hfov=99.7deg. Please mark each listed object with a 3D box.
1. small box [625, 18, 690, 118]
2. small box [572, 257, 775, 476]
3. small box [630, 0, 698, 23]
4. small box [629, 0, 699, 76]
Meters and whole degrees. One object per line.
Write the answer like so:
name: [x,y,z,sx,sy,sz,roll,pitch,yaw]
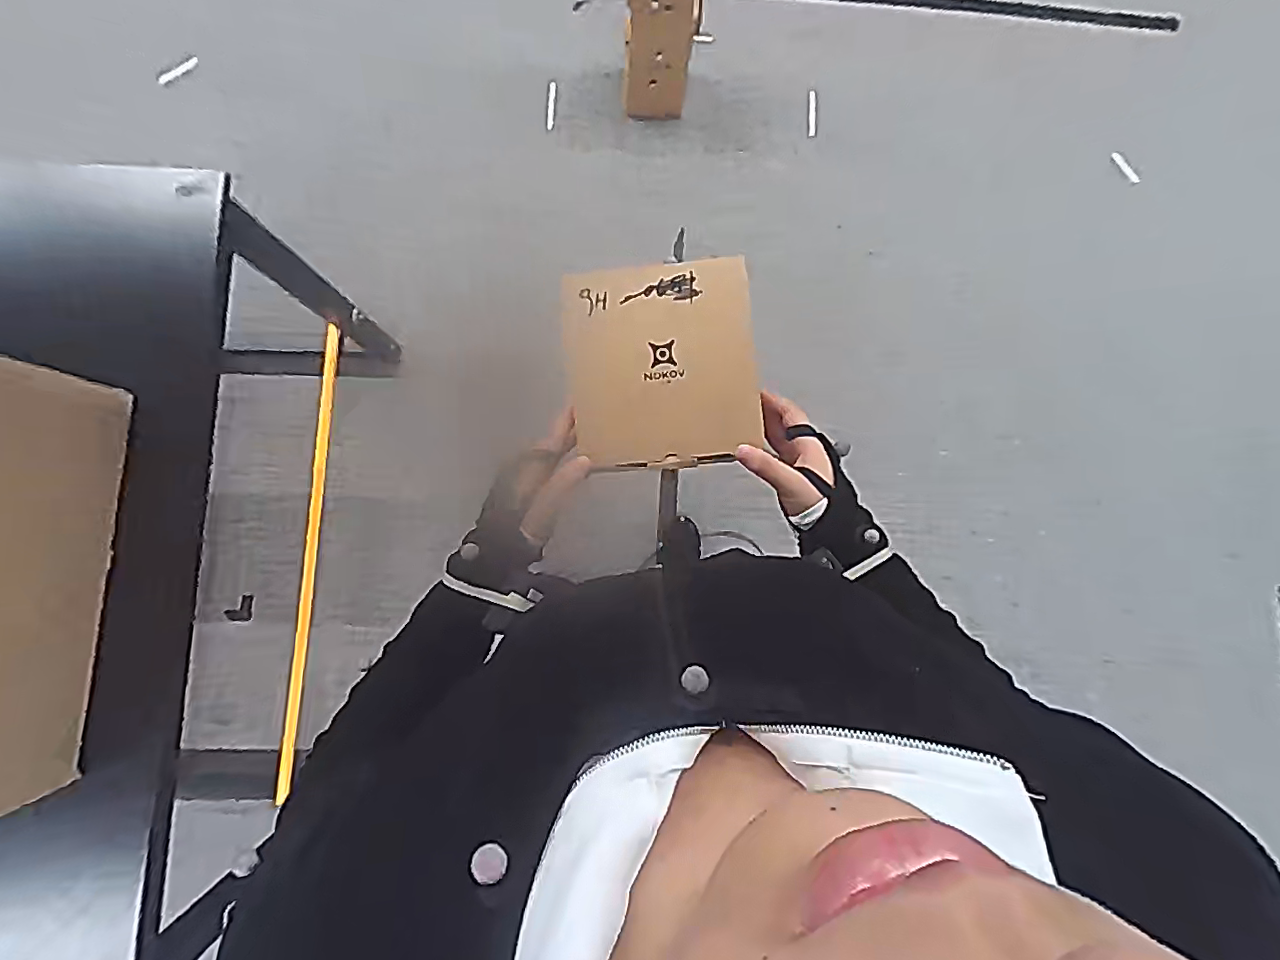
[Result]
small box: [0.046,-1.184,1.562,0.179,0.176,0.168,-1,84,-4]
small box: [0.032,-0.100,0.545,0.168,0.176,0.179,-6,91,1]
small box: [0.067,-1.210,1.236,0.168,0.176,0.179,8,85,-1]
small box: [0.060,-1.201,1.399,0.168,0.176,0.179,3,84,-3]
